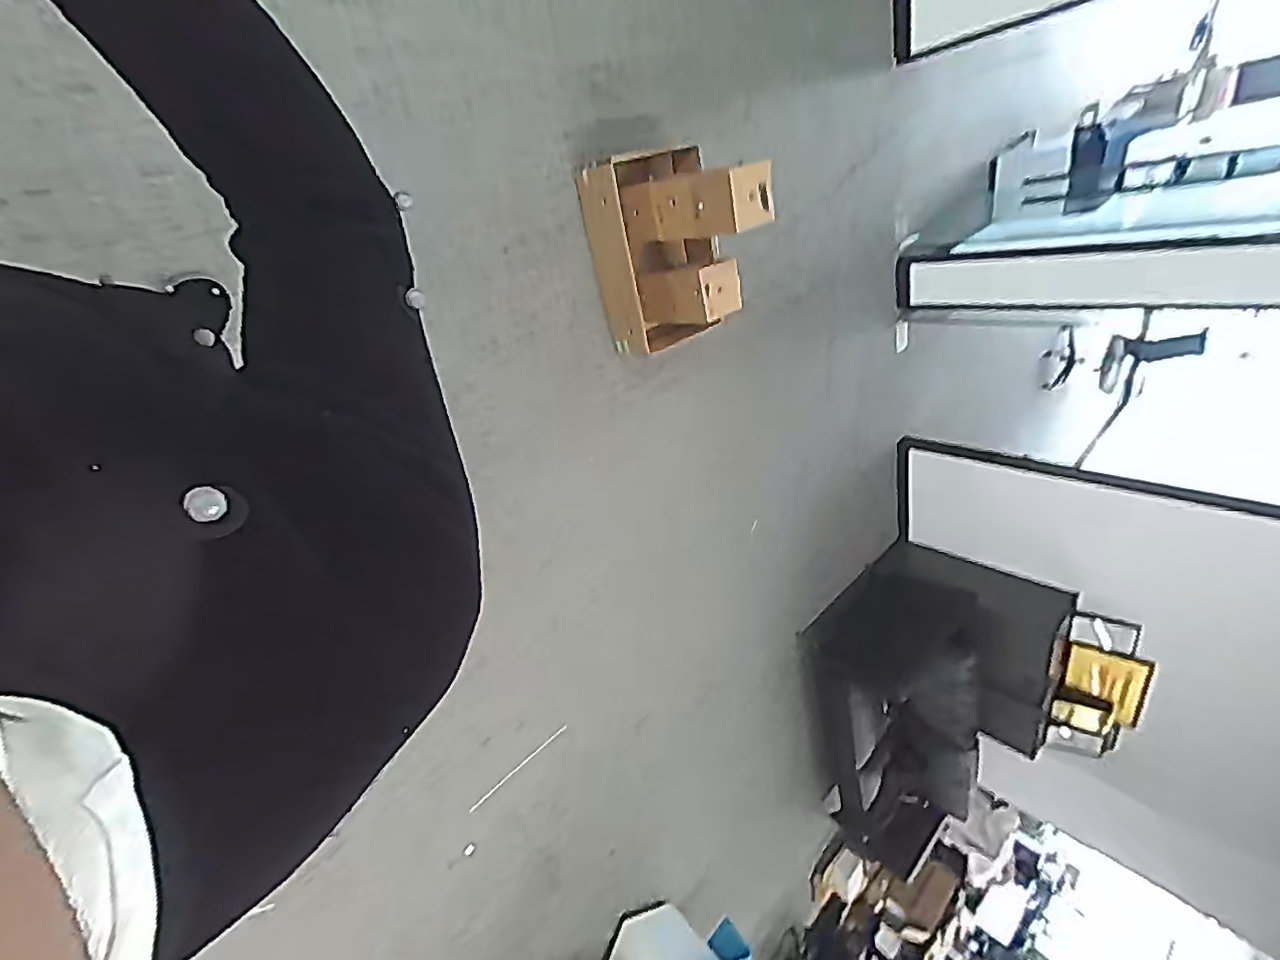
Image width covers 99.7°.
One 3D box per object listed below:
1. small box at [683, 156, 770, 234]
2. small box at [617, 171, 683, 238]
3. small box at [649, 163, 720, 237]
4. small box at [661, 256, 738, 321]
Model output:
[{"bbox_3d":[0.252,-0.823,1.568,0.179,0.176,0.168,-32,124,-29],"label":"small box"},{"bbox_3d":[0.041,-0.913,1.800,0.179,0.176,0.168,-32,124,-30],"label":"small box"},{"bbox_3d":[0.145,-0.868,1.685,0.179,0.176,0.168,-33,124,-29],"label":"small box"},{"bbox_3d":[0.199,-0.641,1.808,0.179,0.176,0.168,-32,121,-30],"label":"small box"}]
